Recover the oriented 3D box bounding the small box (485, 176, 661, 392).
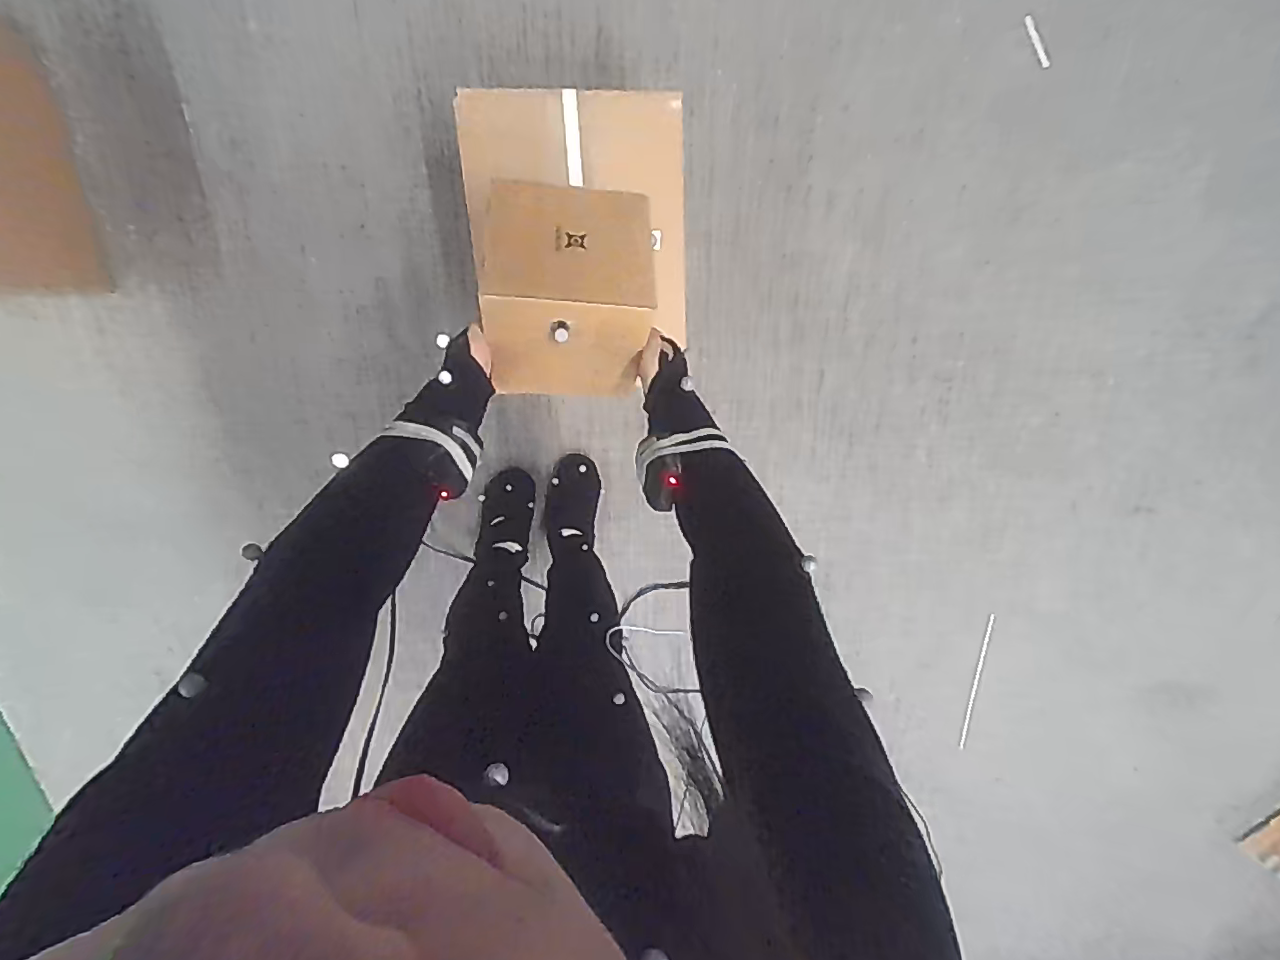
[{"bbox_3d":[-0.079,-0.217,0.635,0.179,0.176,0.168,2,66,-9],"label":"small box"}]

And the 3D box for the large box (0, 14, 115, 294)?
[{"bbox_3d":[-1.108,-0.482,0.784,0.320,0.320,0.408,-3,110,-5],"label":"large box"}]
